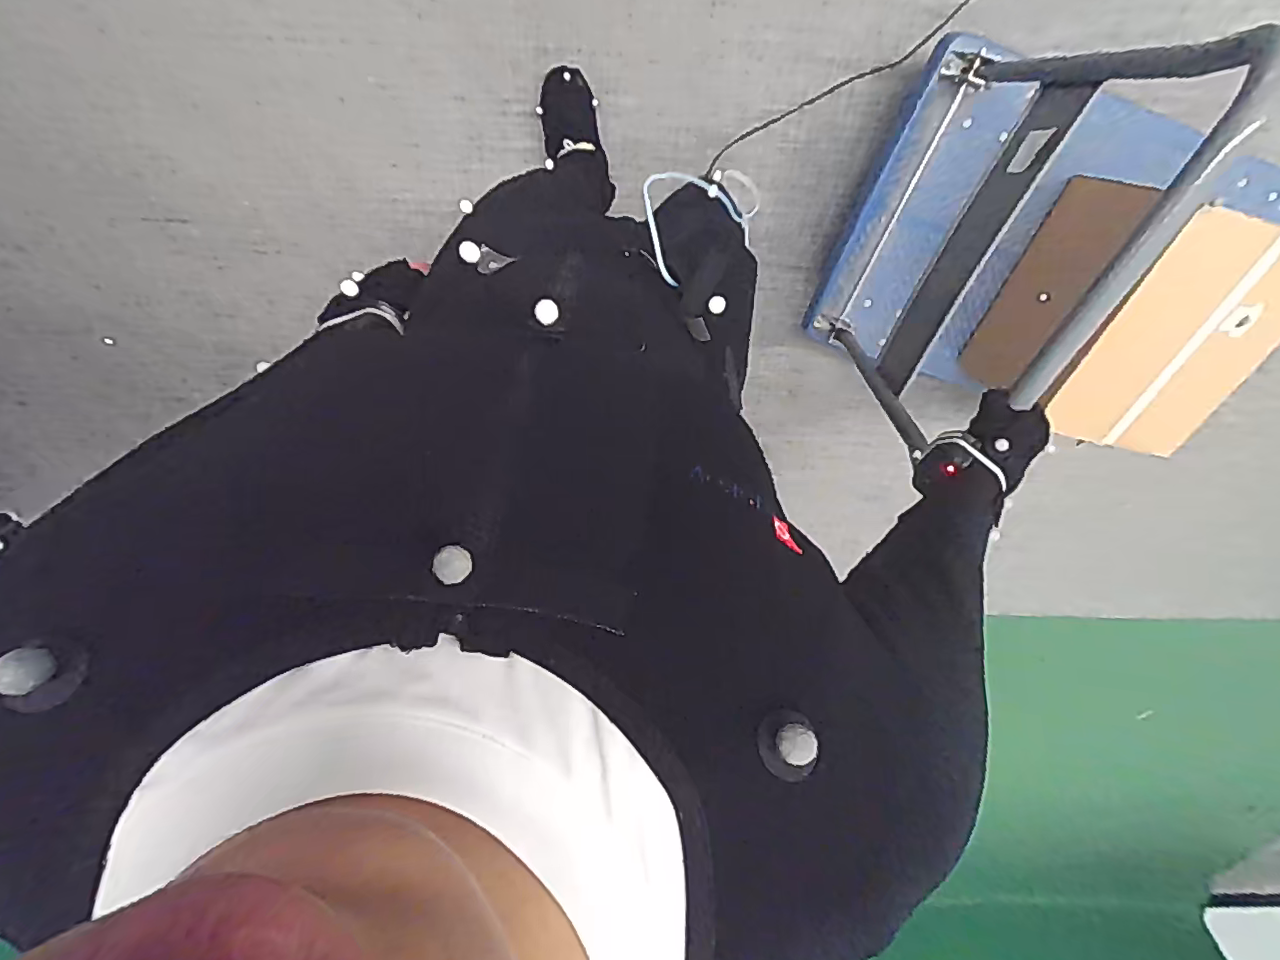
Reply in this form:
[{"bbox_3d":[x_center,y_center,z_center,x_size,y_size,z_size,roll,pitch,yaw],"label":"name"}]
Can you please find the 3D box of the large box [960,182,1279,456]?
[{"bbox_3d":[0.936,-0.315,1.067,0.320,0.320,0.408,10,125,-8],"label":"large box"}]
